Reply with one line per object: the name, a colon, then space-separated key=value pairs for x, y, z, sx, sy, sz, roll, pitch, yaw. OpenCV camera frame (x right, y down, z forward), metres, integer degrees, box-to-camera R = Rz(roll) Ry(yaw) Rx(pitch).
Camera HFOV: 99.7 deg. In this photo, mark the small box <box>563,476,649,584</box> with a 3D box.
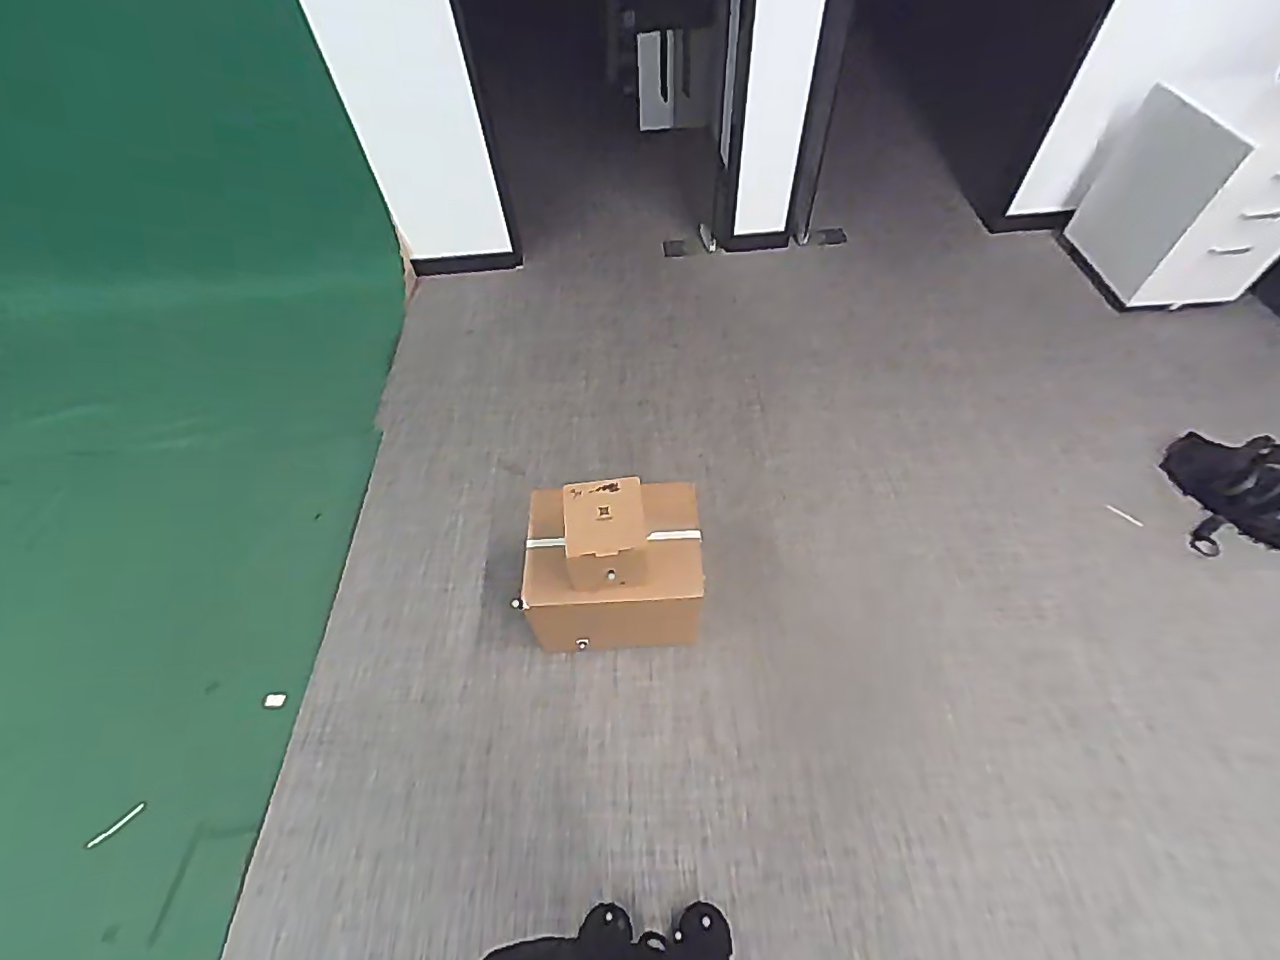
small box: x=-0.071 y=0.115 z=1.172 sx=0.168 sy=0.176 sz=0.179 roll=-6 pitch=56 yaw=-1
